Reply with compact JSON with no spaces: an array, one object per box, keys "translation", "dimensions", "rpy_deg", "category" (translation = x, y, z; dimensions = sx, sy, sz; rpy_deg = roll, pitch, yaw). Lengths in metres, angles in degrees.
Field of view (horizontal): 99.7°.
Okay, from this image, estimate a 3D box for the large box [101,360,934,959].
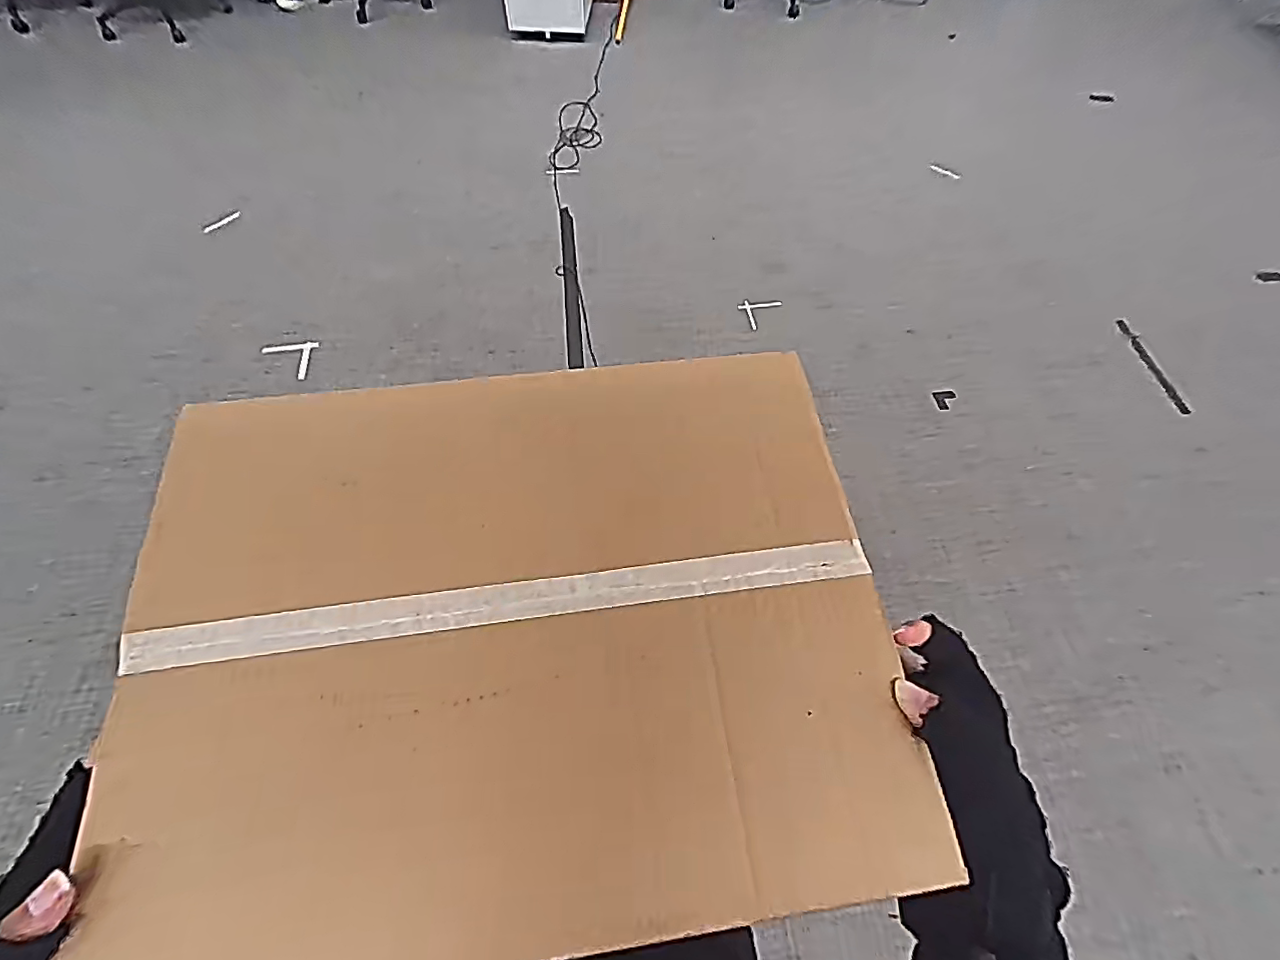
[{"translation":[-0.072,0.135,0.452],"dimensions":[0.408,0.320,0.320],"rpy_deg":[-6,66,-5],"category":"large box"}]
